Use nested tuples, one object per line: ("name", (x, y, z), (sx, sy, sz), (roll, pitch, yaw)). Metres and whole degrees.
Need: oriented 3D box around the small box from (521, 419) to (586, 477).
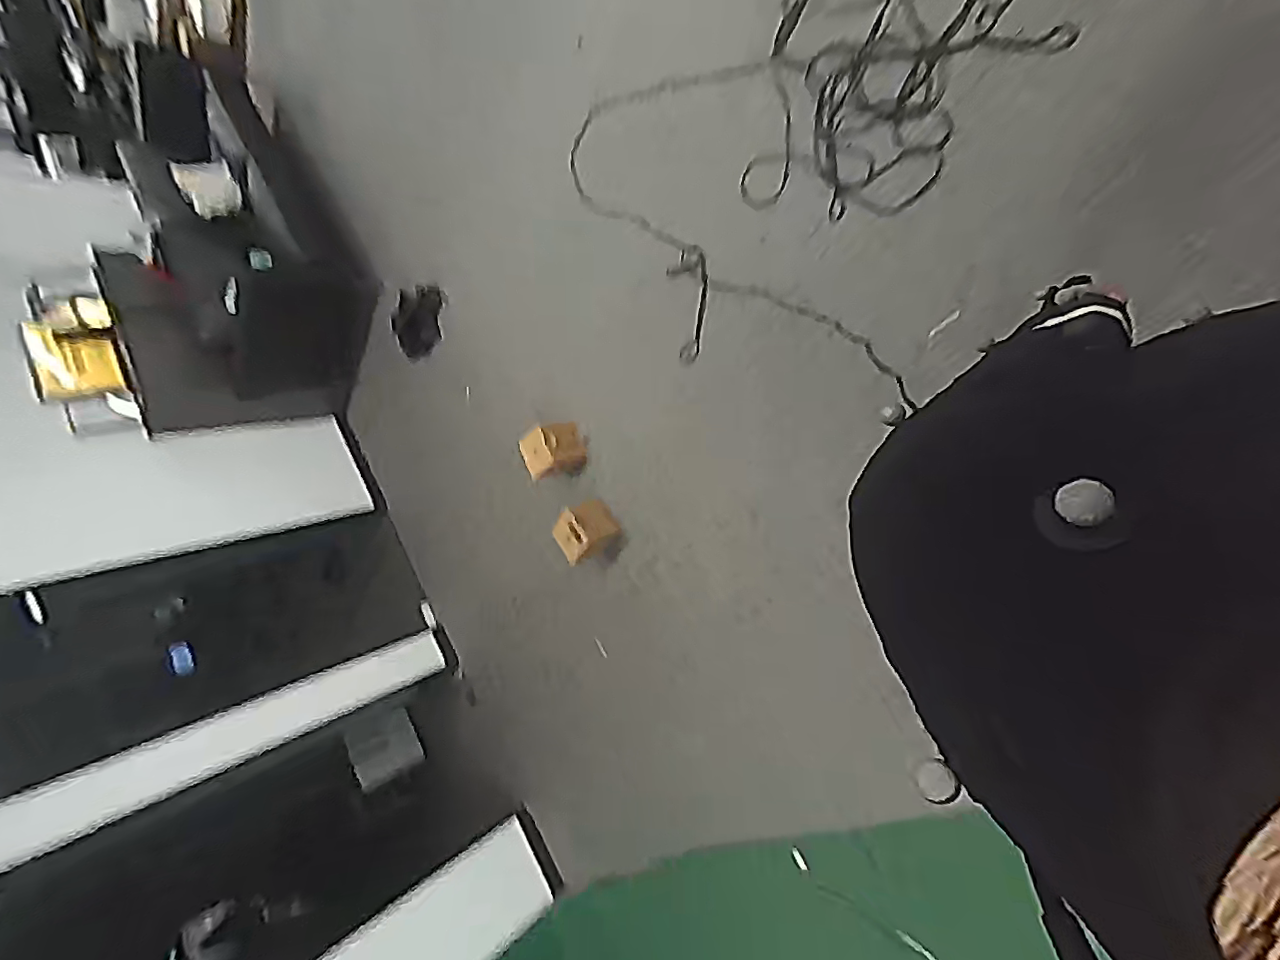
("small box", (-0.347, -0.130, 2.171), (0.179, 0.176, 0.168), (-33, 77, 44))
